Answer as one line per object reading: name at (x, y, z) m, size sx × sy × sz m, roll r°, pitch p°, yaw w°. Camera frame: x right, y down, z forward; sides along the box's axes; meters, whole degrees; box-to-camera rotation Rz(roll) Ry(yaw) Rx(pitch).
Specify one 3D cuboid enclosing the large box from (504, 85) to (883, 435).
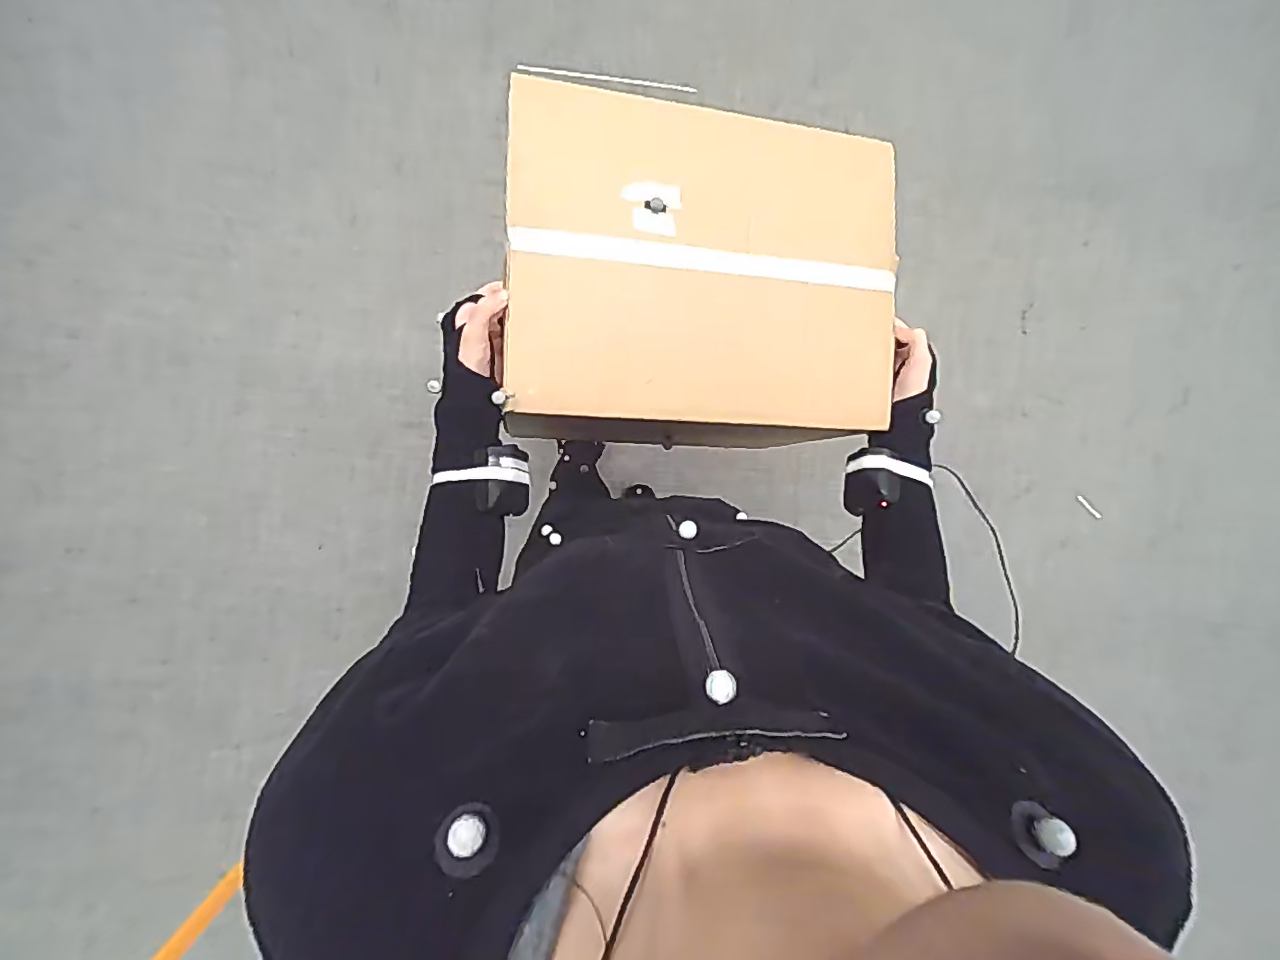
large box at (0.039, -0.222, 0.695) m, size 0.408 × 0.320 × 0.320 m, roll 1°, pitch 89°, yaw -12°
